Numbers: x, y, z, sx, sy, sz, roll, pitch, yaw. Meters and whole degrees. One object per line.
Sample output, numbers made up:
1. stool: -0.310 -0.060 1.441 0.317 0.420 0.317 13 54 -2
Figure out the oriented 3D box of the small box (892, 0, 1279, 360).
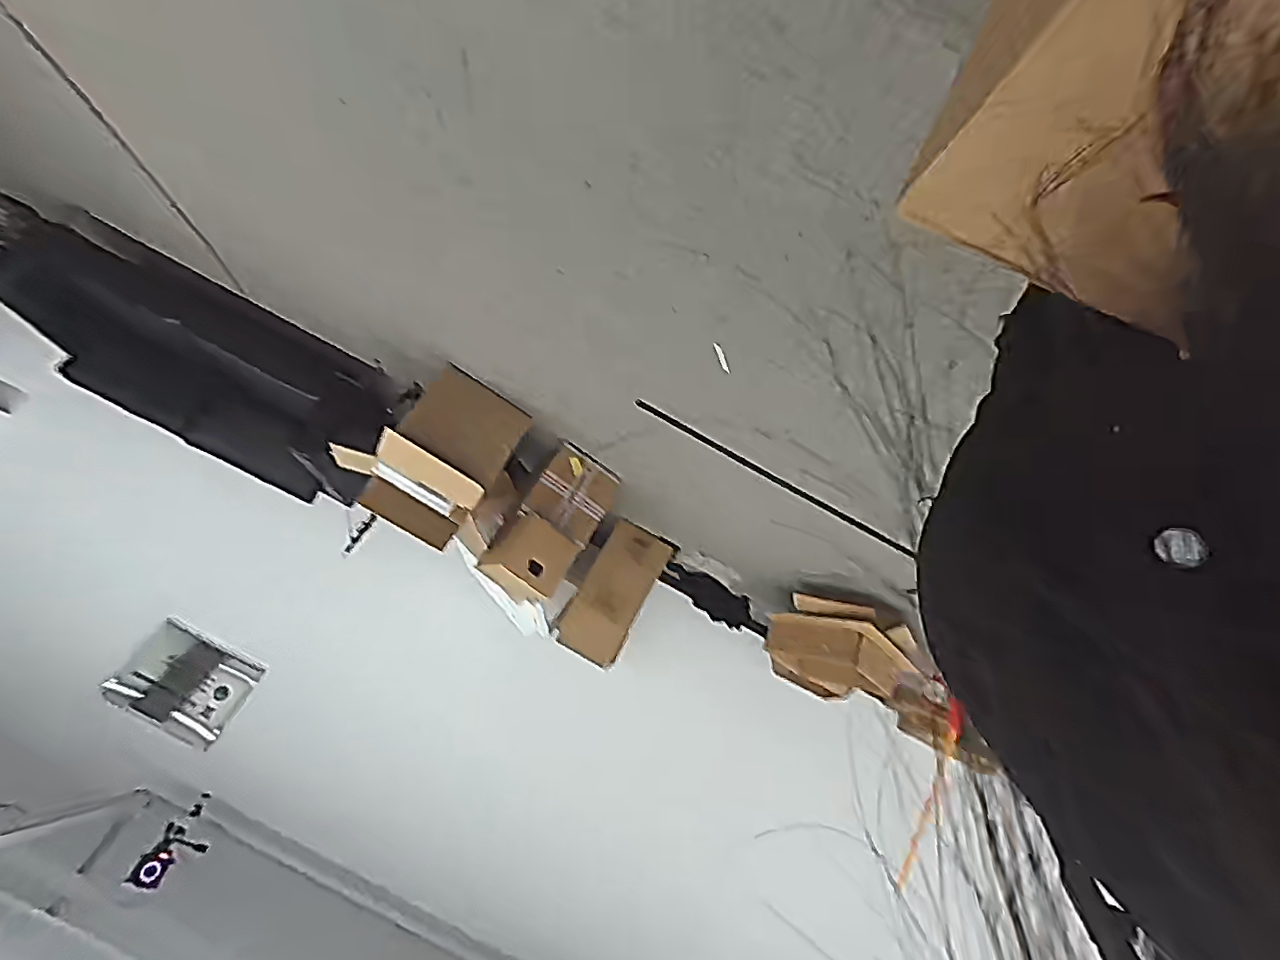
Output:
1. small box: 0.237 -0.168 0.189 0.179 0.176 0.168 26 -179 1
